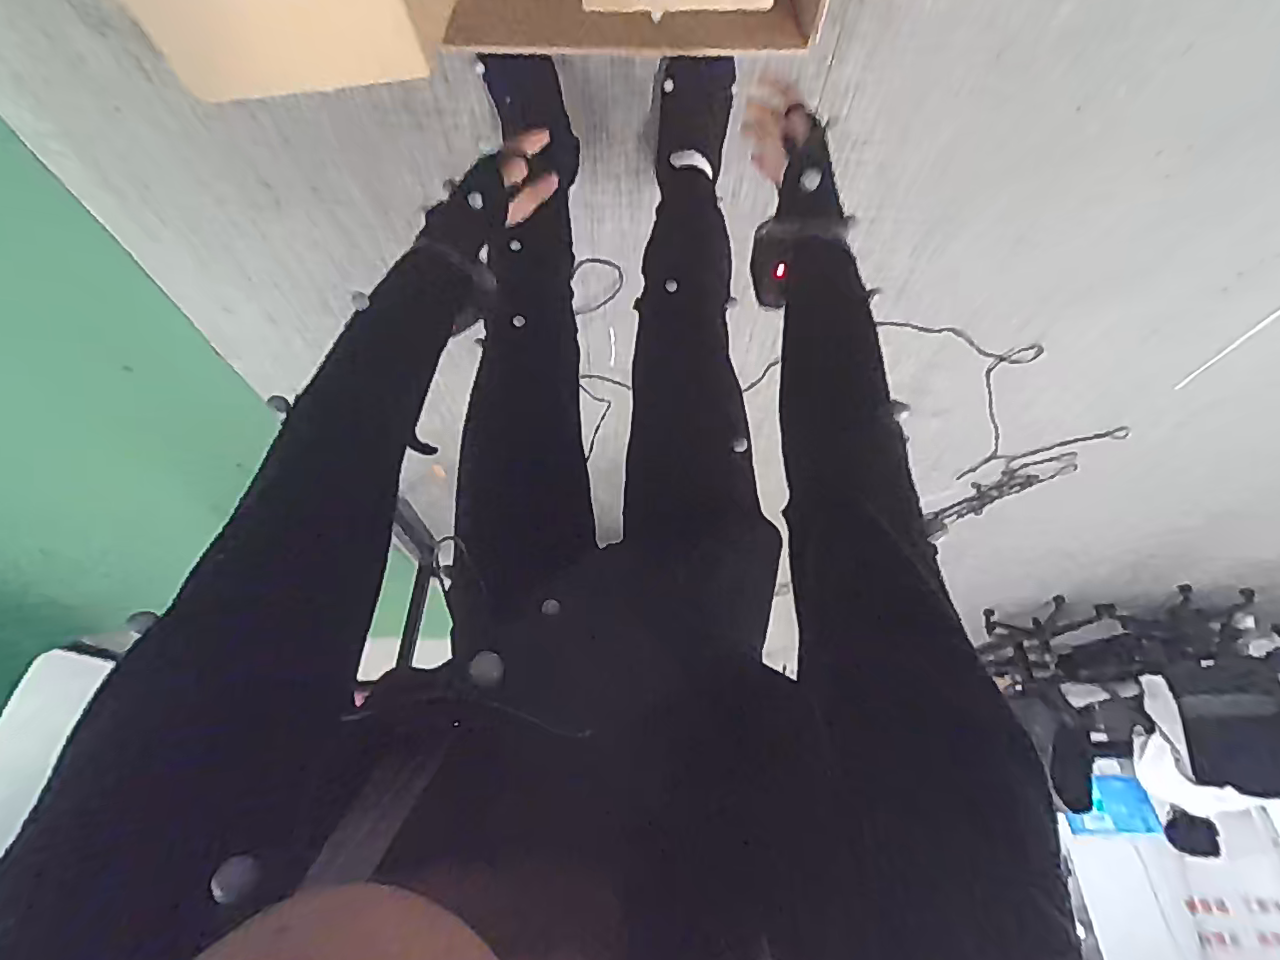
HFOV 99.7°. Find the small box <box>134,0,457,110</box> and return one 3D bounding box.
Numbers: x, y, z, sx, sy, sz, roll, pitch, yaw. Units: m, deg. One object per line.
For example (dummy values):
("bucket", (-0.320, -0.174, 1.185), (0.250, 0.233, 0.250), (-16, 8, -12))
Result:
("small box", (-0.231, -0.381, 0.350), (0.179, 0.176, 0.168), (-3, 152, 5))
